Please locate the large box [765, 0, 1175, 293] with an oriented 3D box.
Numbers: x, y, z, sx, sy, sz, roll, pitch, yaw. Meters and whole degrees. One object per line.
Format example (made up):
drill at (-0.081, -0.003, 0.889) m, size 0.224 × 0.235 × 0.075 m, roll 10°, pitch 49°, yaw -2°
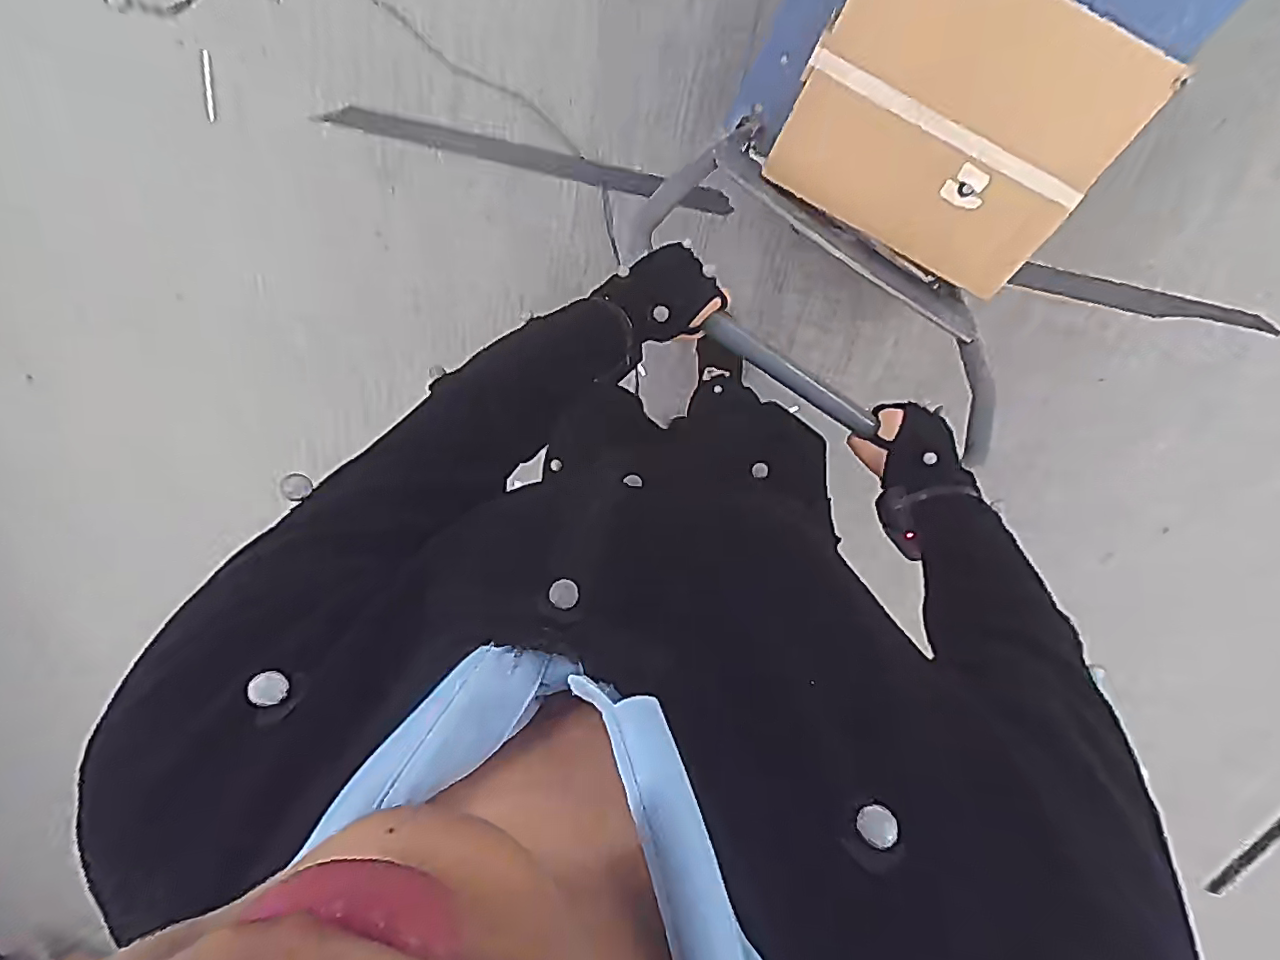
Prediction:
large box at (0.461, -0.569, 0.862) m, size 0.408 × 0.320 × 0.320 m, roll 28°, pitch 130°, yaw -2°
